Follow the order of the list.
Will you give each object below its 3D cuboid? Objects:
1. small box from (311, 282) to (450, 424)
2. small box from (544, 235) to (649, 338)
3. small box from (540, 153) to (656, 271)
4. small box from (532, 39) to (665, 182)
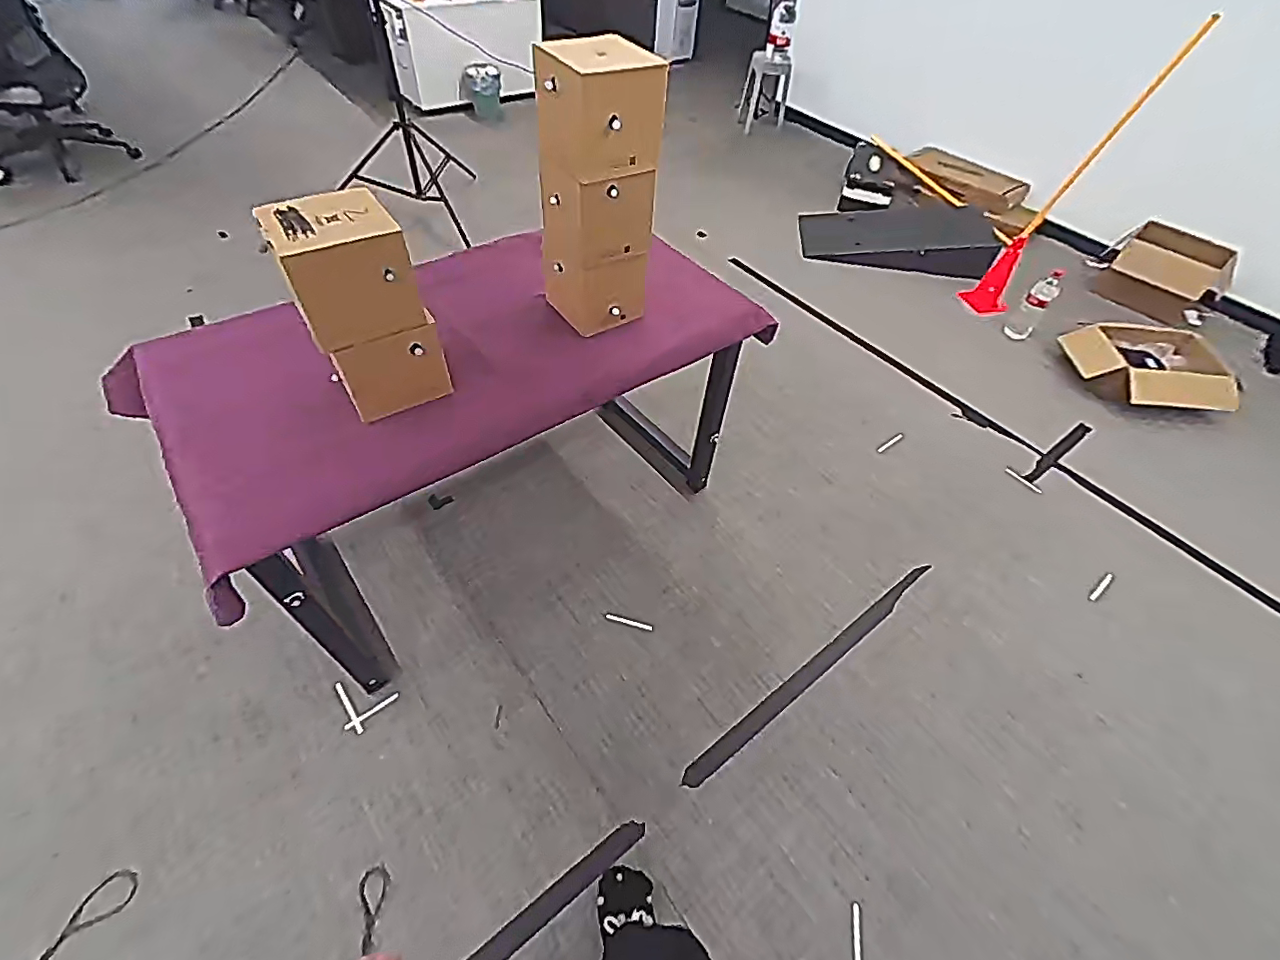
[{"bbox_3d":[-0.474,-0.237,1.015,0.179,0.176,0.168,-27,57,-23],"label":"small box"},{"bbox_3d":[-0.101,-0.452,1.221,0.168,0.176,0.179,-27,59,-23],"label":"small box"},{"bbox_3d":[-0.088,-0.552,1.091,0.168,0.176,0.179,-25,57,-22],"label":"small box"},{"bbox_3d":[-0.073,-0.650,0.961,0.168,0.176,0.179,-26,57,-22],"label":"small box"}]
